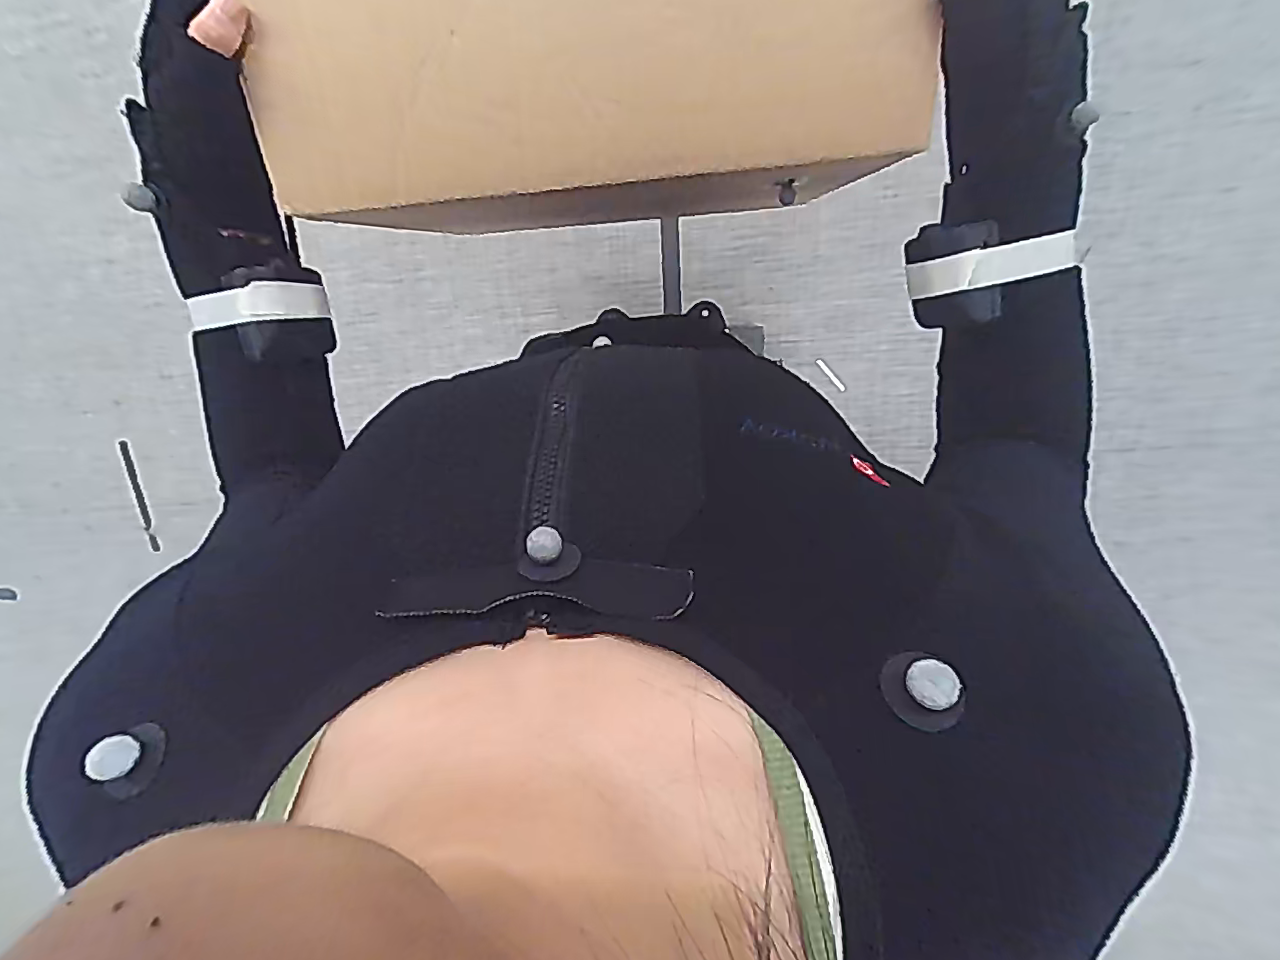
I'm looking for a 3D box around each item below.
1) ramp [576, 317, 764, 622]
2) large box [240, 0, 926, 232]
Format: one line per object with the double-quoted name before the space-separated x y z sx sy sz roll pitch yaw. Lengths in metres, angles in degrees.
"ramp" 0.118 0.037 1.619 0.509 0.206 0.991 -4 108 5
"large box" -0.033 -0.388 0.429 0.408 0.320 0.320 -3 111 5
